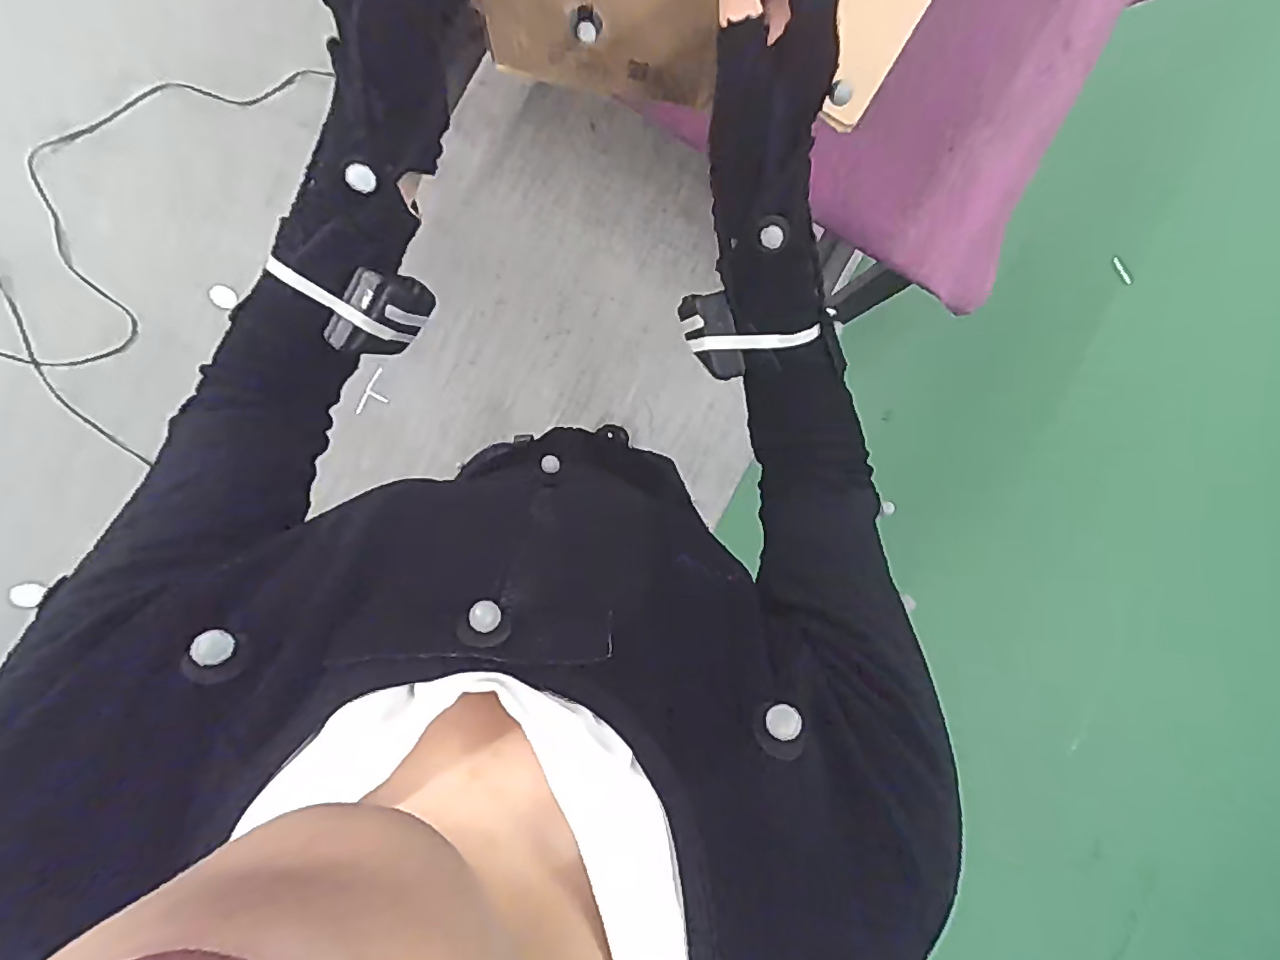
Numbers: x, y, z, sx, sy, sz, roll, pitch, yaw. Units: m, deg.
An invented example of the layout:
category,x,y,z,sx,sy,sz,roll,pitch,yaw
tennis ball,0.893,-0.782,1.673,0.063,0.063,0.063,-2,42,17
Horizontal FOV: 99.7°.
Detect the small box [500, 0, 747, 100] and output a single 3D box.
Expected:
category,x,y,z,sx,sy,sz,roll,pitch,yaw
small box,-0.003,-0.383,0.324,0.168,0.176,0.179,8,87,-3
